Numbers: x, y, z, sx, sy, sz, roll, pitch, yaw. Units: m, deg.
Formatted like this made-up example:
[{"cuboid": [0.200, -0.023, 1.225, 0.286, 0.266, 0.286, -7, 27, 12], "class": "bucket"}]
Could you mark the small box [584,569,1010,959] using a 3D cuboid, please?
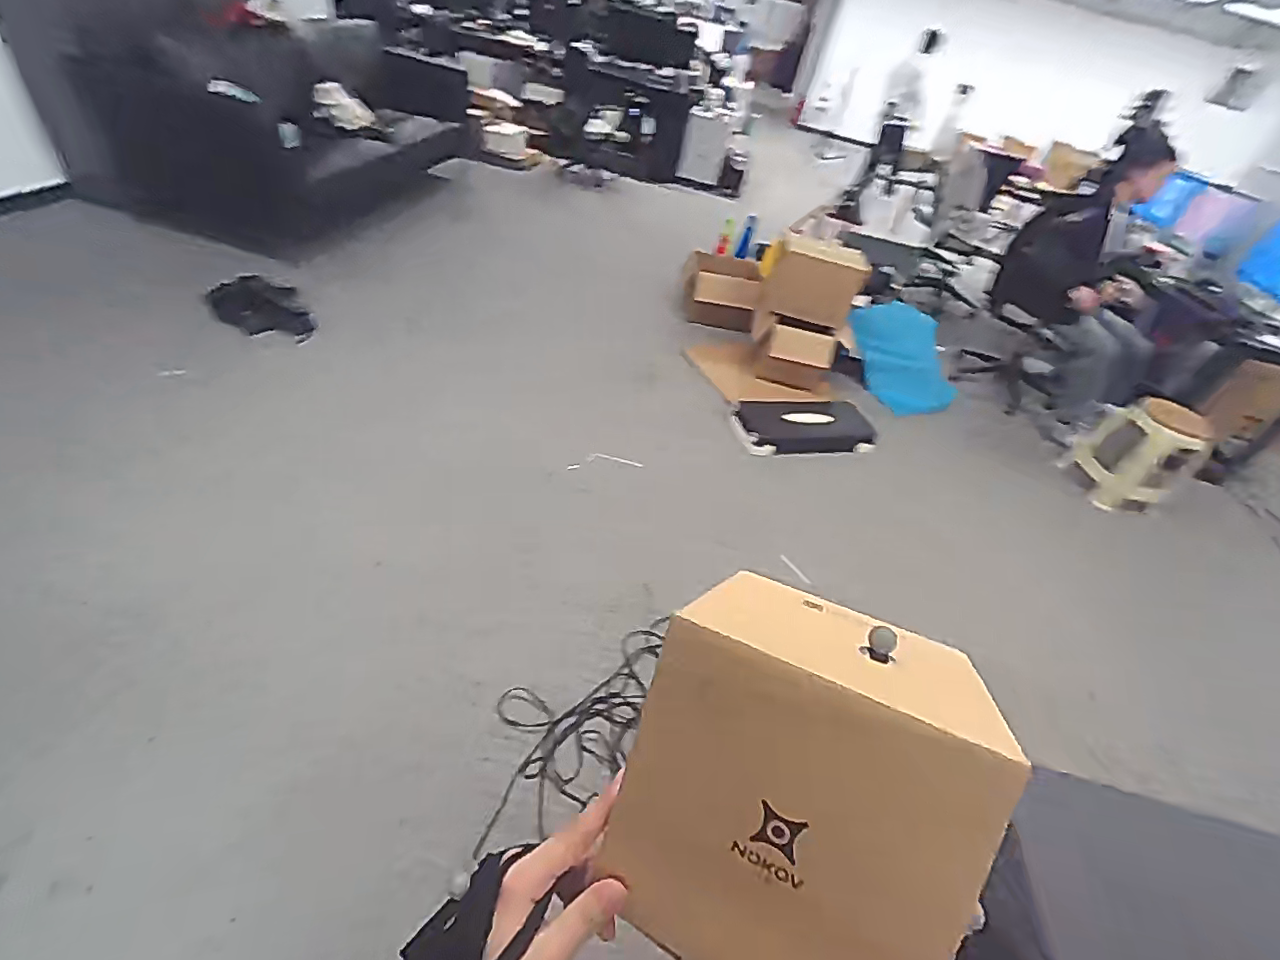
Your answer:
[{"cuboid": [0.091, 0.170, 0.338, 0.168, 0.179, 0.176, 17, 7, 21], "class": "small box"}]
